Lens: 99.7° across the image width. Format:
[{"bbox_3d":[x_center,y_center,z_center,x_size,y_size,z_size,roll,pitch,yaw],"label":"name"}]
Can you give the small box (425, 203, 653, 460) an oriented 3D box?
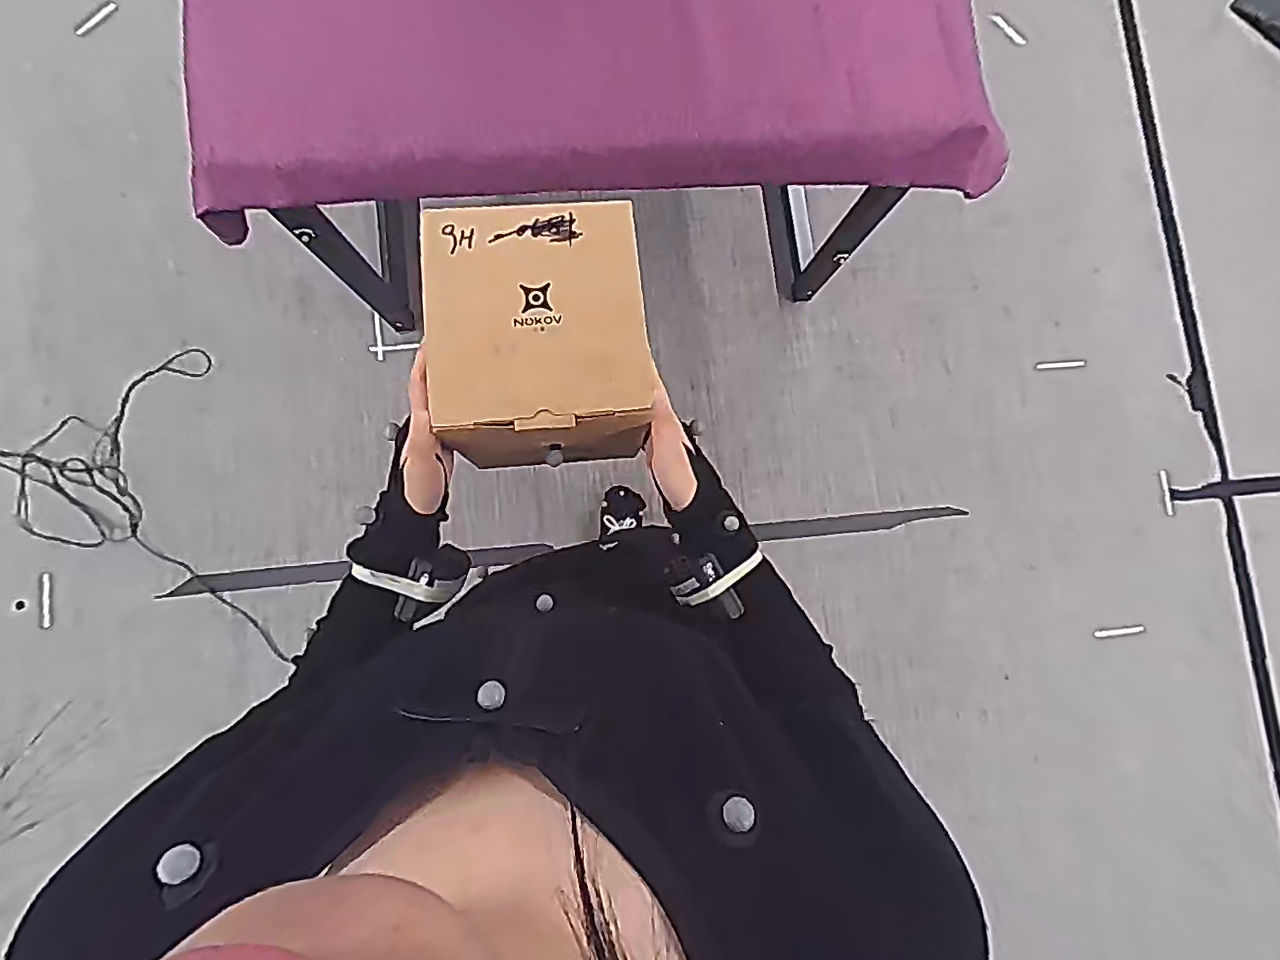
[{"bbox_3d":[-0.082,-0.117,0.490,0.168,0.176,0.179,-5,82,-5],"label":"small box"}]
